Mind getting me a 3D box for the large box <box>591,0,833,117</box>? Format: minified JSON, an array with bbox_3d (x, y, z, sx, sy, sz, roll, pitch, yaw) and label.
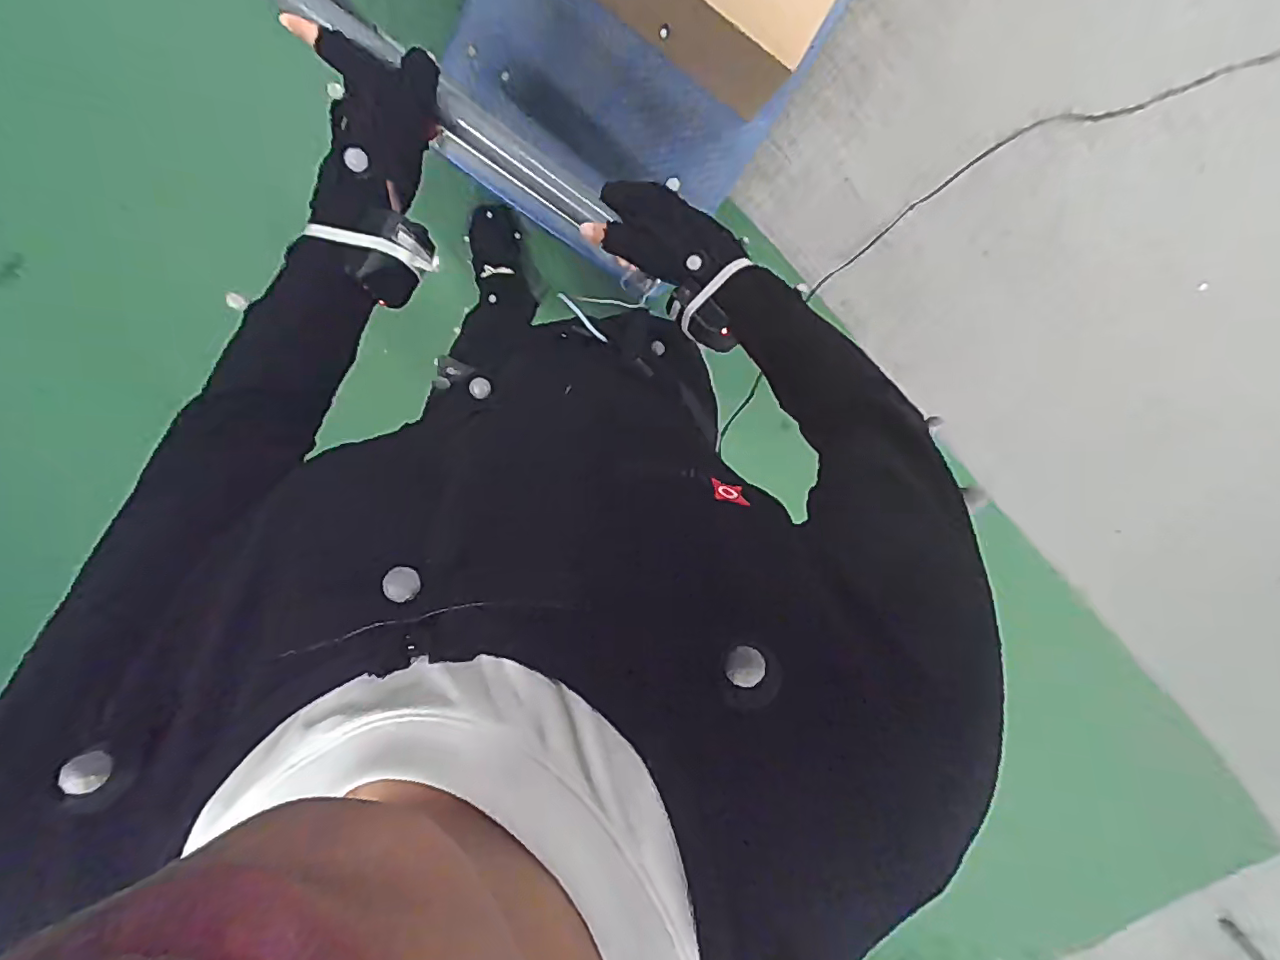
[{"bbox_3d":[0.123,-0.849,0.820,0.408,0.320,0.320,30,109,-12],"label":"large box"}]
